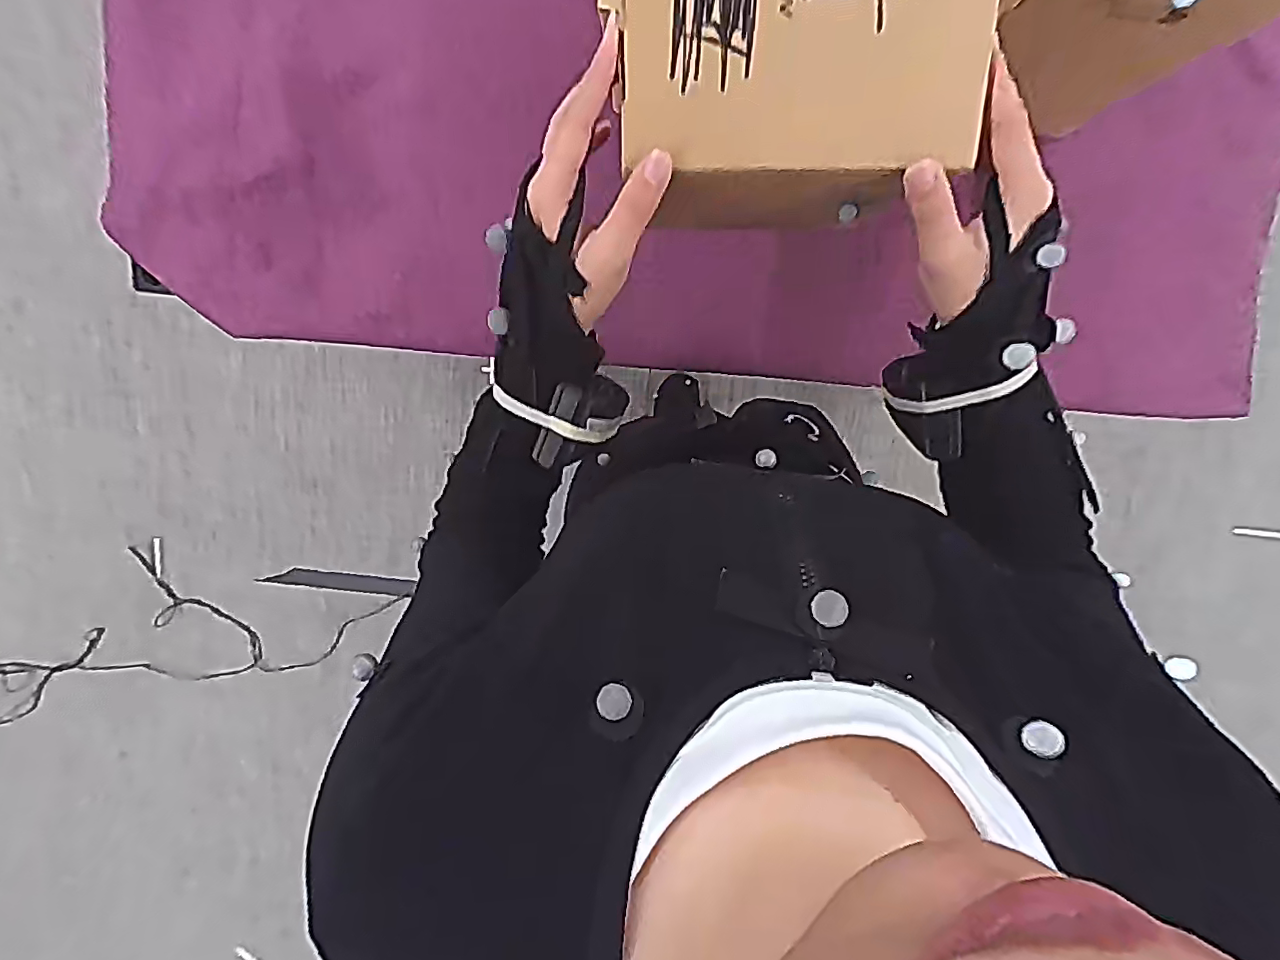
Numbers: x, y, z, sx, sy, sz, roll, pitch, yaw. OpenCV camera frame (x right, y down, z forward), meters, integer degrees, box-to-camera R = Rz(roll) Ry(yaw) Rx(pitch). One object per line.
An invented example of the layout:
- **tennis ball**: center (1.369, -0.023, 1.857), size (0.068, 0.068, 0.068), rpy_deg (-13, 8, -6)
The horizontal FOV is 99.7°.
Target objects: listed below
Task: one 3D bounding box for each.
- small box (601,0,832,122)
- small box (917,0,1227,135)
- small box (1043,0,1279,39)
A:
- **small box**: center (0.065, -0.441, 0.468), size (0.179, 0.176, 0.168), rpy_deg (6, 101, -1)
- **small box**: center (0.368, -0.435, 0.462), size (0.168, 0.176, 0.179), rpy_deg (9, 102, -1)
- **small box**: center (0.368, -0.403, 0.299), size (0.168, 0.176, 0.179), rpy_deg (9, 101, 0)
